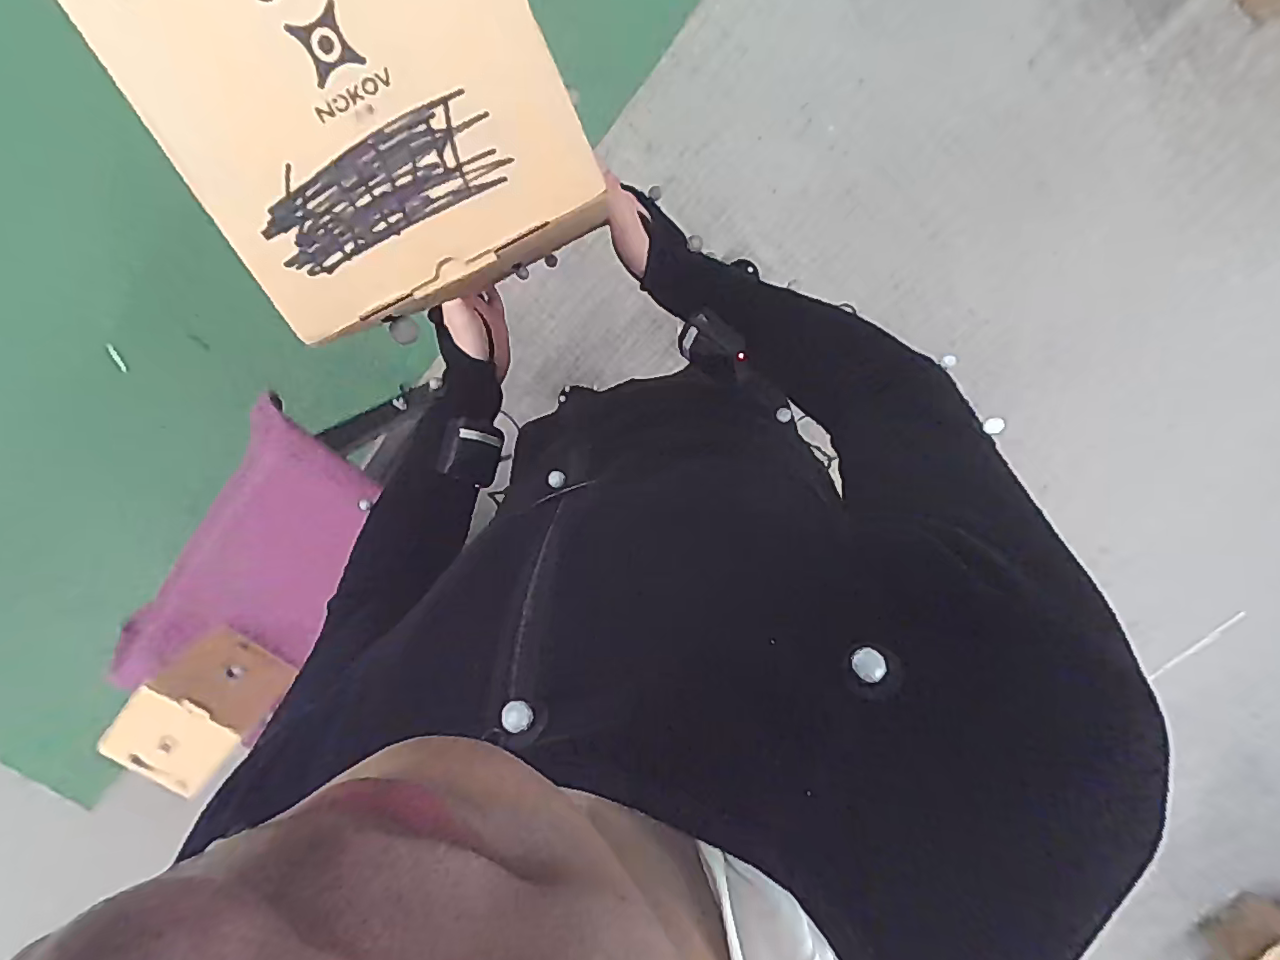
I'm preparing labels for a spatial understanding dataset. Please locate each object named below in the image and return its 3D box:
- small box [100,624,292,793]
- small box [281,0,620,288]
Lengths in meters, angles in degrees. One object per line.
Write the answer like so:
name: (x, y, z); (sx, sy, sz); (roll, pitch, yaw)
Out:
small box: (-0.753, 0.387, 0.944); (0.168, 0.176, 0.179); (40, 103, -13)
small box: (-0.128, -0.278, 0.441); (0.168, 0.176, 0.179); (-24, 114, 8)
